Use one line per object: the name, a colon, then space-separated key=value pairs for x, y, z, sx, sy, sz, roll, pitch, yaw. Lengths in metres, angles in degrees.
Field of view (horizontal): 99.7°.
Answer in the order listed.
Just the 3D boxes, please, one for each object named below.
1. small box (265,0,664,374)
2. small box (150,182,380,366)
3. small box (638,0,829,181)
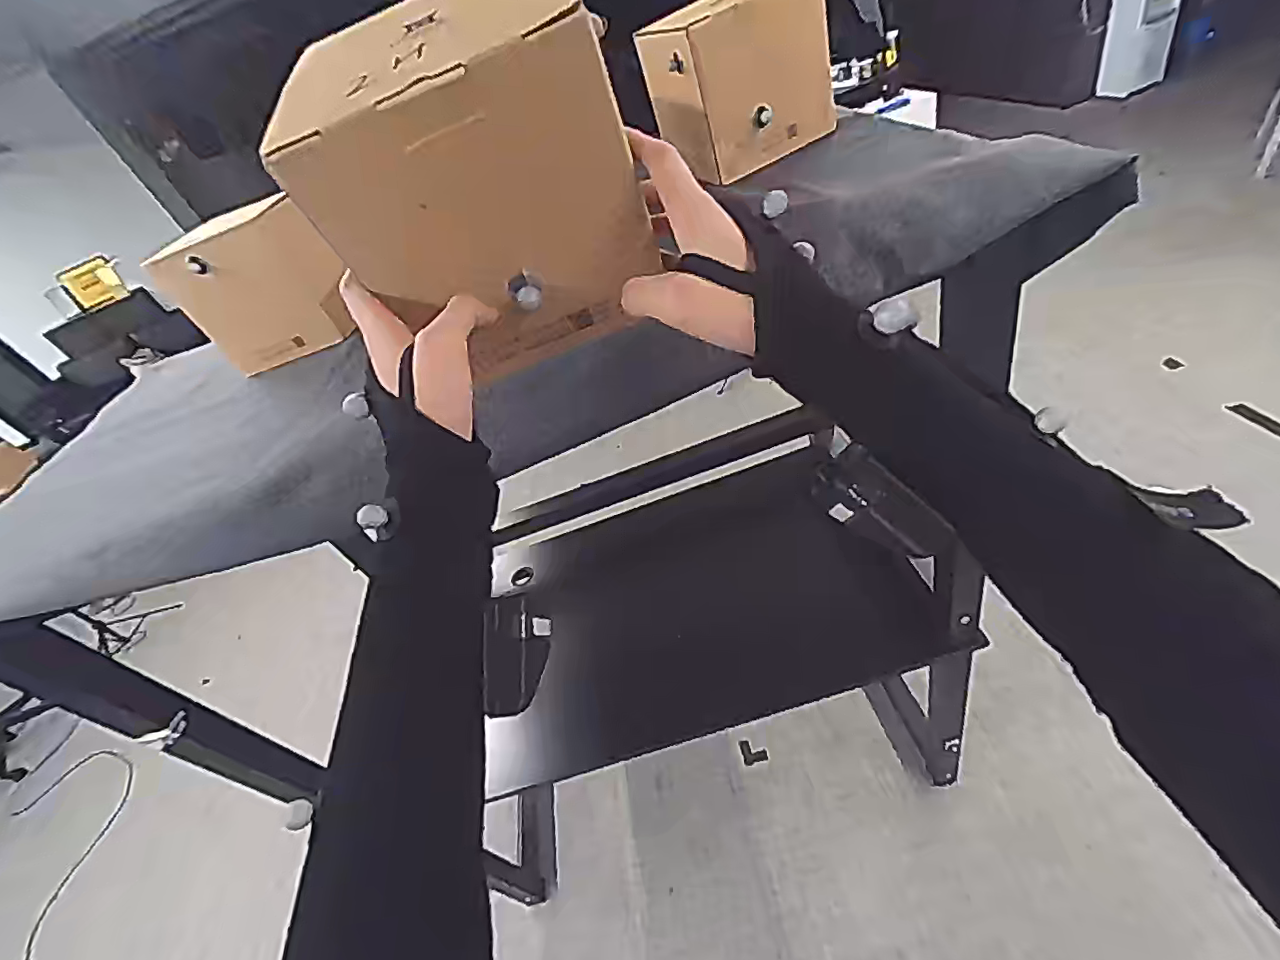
small box: x=-0.096 y=-0.204 z=0.360 sx=0.168 sy=0.176 sz=0.179 roll=-20 pitch=53 yaw=6
small box: x=-0.500 y=-0.287 z=0.758 sx=0.168 sy=0.176 sz=0.179 roll=-17 pitch=40 yaw=9
small box: x=0.120 y=-0.510 z=0.692 sx=0.168 sy=0.176 sz=0.179 roll=-28 pitch=42 yaw=-3
